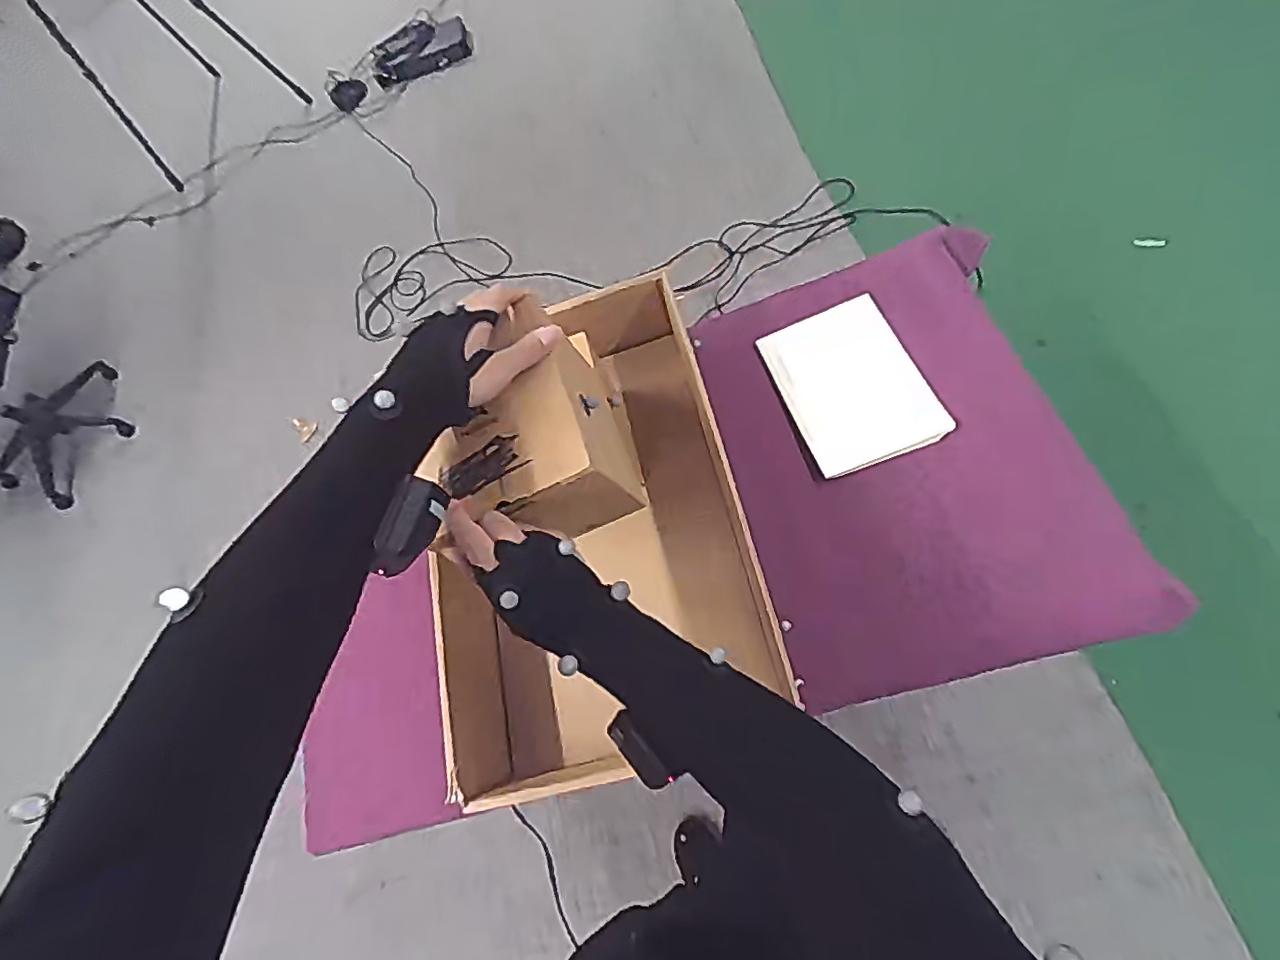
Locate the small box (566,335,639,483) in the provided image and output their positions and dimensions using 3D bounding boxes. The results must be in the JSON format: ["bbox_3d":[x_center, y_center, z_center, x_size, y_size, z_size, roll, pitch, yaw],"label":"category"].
[{"bbox_3d":[-0.112,-0.069,0.775,0.168,0.176,0.179,-19,69,6],"label":"small box"}]

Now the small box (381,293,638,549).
[{"bbox_3d":[-0.117,-0.040,0.535,0.168,0.176,0.179,-24,71,9],"label":"small box"}]
